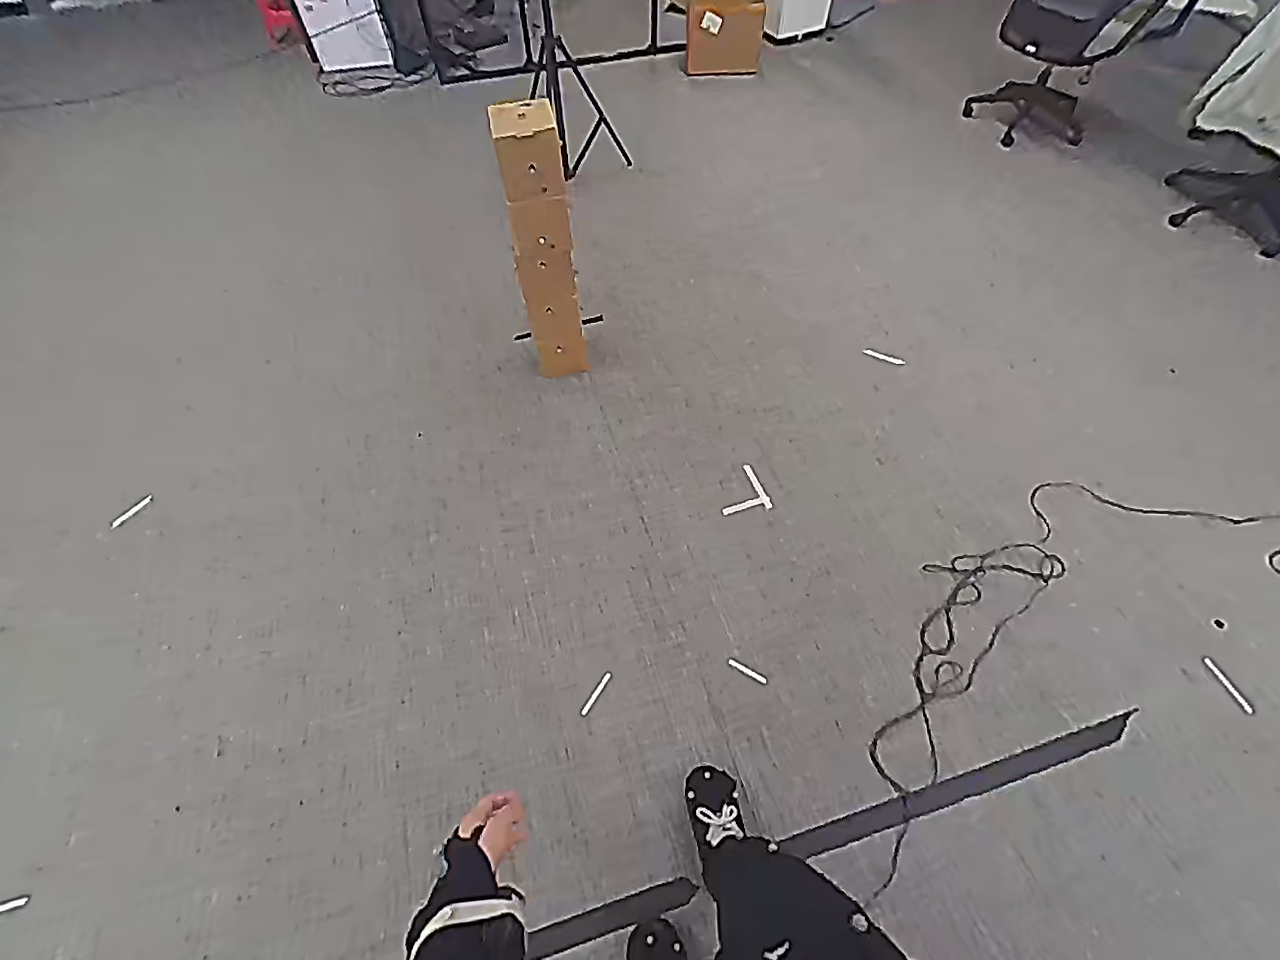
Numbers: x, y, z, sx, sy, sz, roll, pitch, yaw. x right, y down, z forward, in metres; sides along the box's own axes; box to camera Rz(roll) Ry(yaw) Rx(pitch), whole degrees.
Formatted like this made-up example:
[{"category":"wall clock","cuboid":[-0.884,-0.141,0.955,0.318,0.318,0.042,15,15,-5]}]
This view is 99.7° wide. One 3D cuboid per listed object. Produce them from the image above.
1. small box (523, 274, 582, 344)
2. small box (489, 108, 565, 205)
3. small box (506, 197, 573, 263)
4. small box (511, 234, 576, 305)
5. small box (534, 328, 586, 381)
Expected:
[{"category":"small box","cuboid":[-0.302,-0.588,1.870,0.179,0.176,0.168,-7,57,-3]},{"category":"small box","cuboid":[-0.303,-0.871,1.470,0.168,0.176,0.179,-11,58,-5]},{"category":"small box","cuboid":[-0.298,-0.774,1.602,0.168,0.176,0.179,-10,58,-4]},{"category":"small box","cuboid":[-0.308,-0.683,1.740,0.179,0.176,0.168,-9,58,-5]},{"category":"small box","cuboid":[-0.296,-0.490,2.002,0.179,0.176,0.168,-9,57,-5]}]
